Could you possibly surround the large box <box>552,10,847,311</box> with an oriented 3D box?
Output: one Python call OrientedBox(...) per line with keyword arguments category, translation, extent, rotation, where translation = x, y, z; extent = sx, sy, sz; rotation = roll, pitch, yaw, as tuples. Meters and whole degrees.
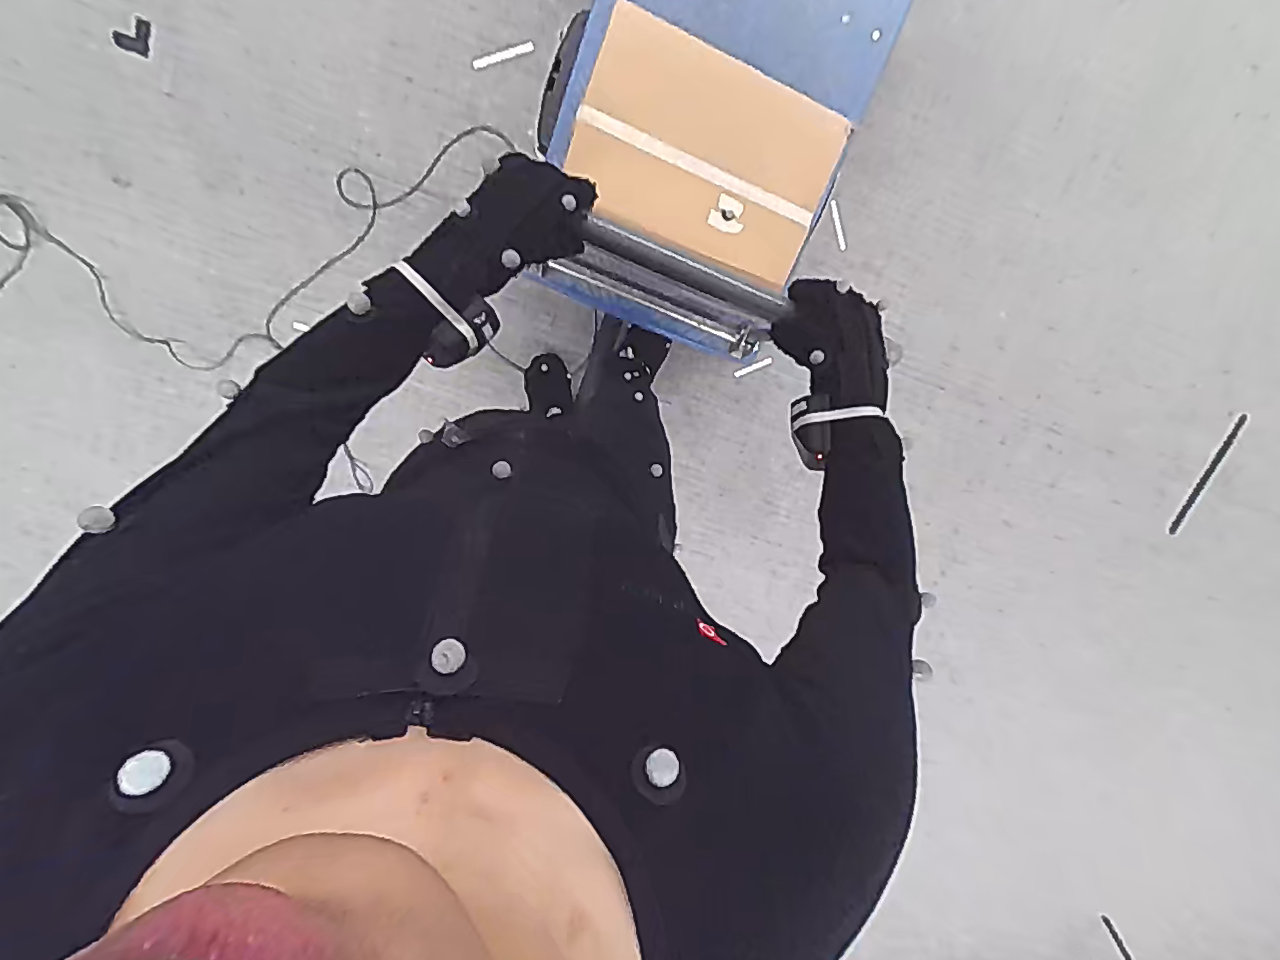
OrientedBox(category="large box", translation=(0.078, -0.531, 0.997), extent=(0.408, 0.320, 0.320), rotation=(19, 106, -12))
